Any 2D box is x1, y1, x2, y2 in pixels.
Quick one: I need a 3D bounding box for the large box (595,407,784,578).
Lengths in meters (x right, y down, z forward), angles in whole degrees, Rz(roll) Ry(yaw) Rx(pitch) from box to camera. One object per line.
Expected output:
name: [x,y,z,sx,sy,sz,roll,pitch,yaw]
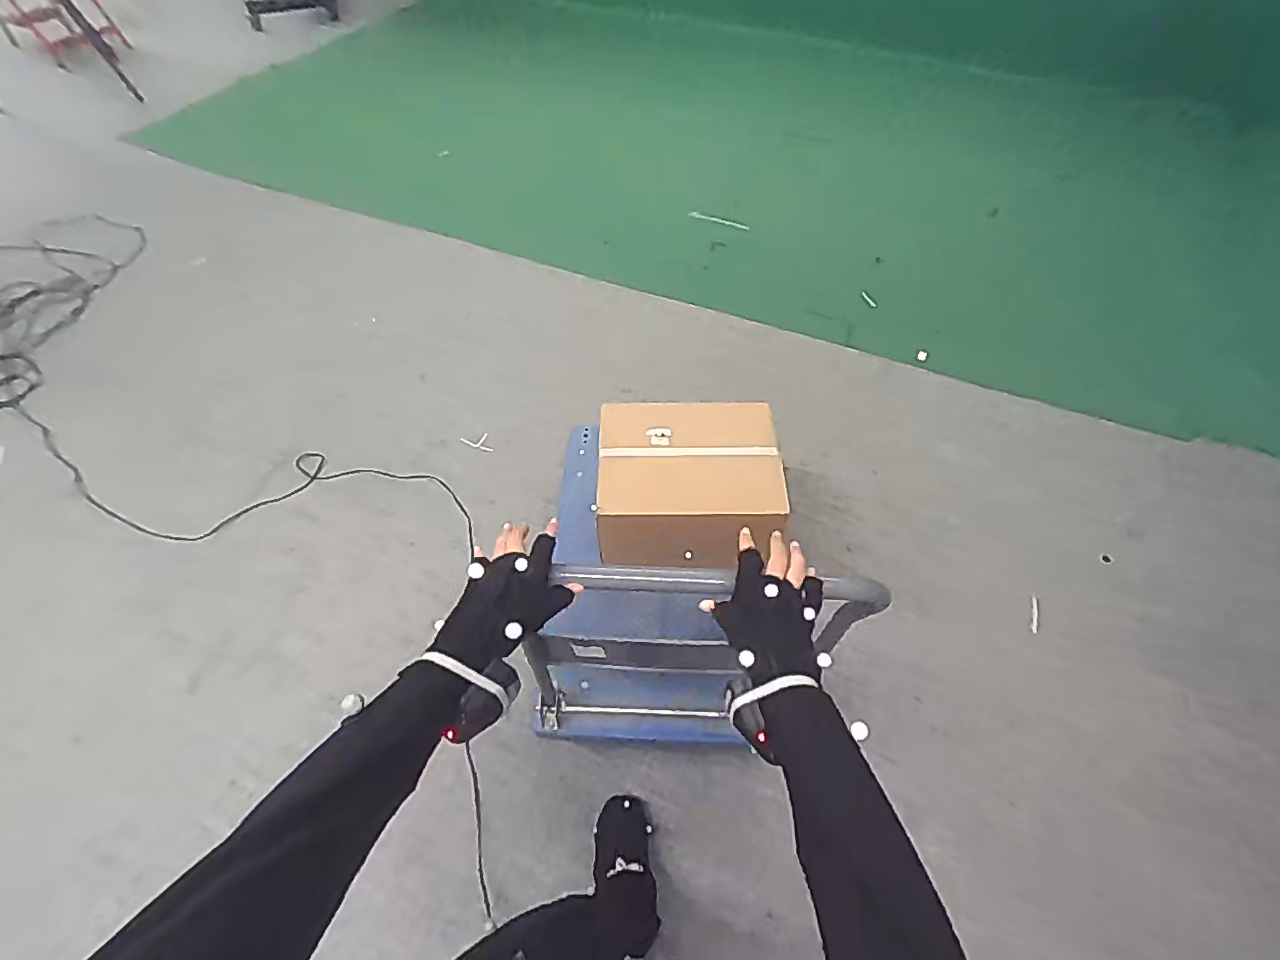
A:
large box: [0.106,0.039,1.332,0.408,0.320,0.320,-1,54,1]
